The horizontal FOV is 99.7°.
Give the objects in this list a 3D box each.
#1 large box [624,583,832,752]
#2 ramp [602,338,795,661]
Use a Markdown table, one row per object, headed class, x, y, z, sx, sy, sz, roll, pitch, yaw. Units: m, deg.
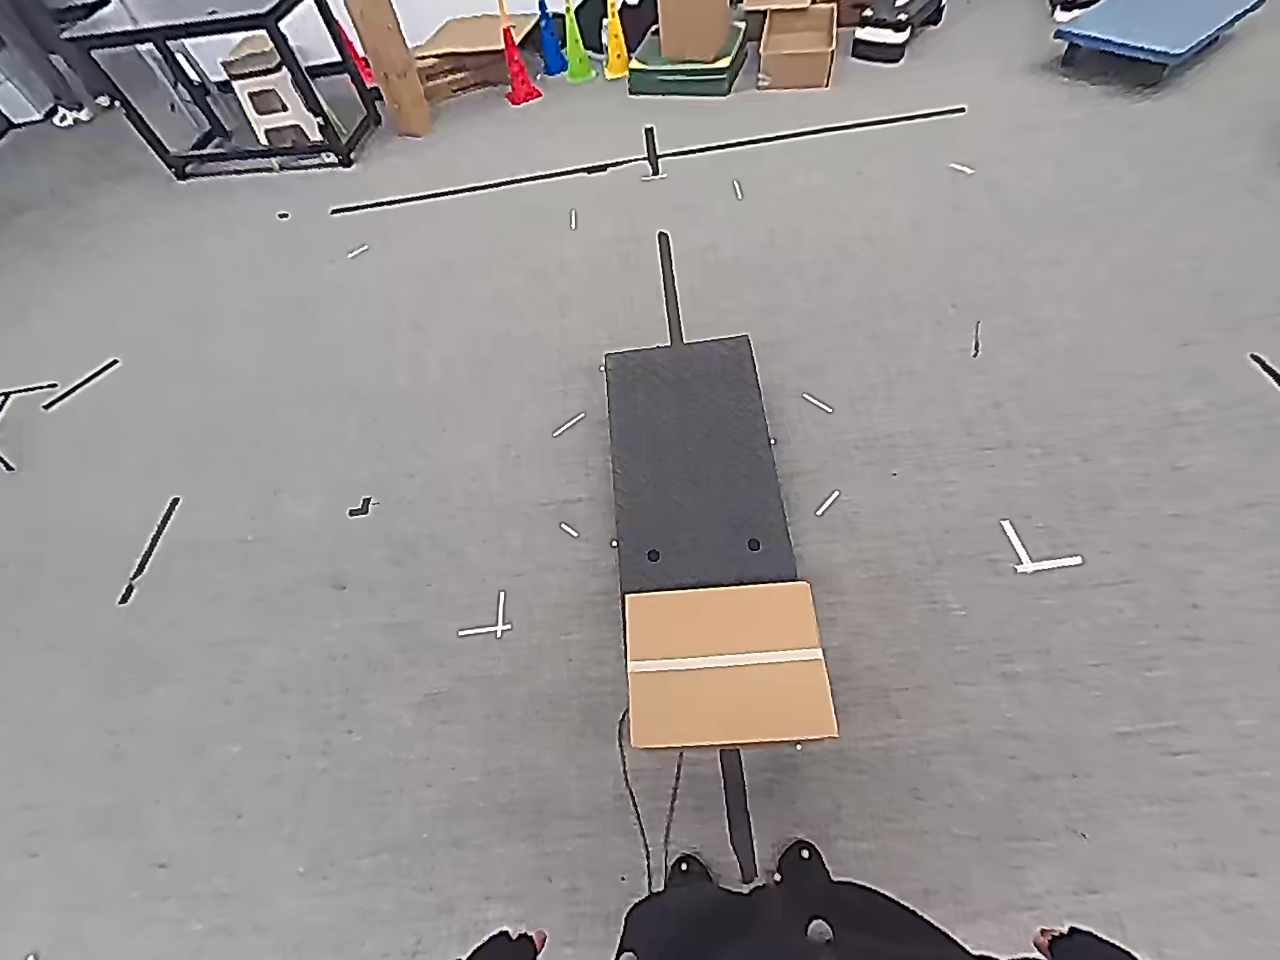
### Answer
| class | x | y | z | sx | sy | sz | roll | pitch | yaw |
| --- | --- | --- | --- | --- | --- | --- | --- | --- | --- |
| large box | 0.185 | 0.449 | 1.258 | 0.408 | 0.320 | 0.320 | -5 | 61 | 4 |
| ramp | 0.157 | 0.009 | 1.626 | 0.509 | 0.206 | 0.991 | -7 | 57 | 1 |
